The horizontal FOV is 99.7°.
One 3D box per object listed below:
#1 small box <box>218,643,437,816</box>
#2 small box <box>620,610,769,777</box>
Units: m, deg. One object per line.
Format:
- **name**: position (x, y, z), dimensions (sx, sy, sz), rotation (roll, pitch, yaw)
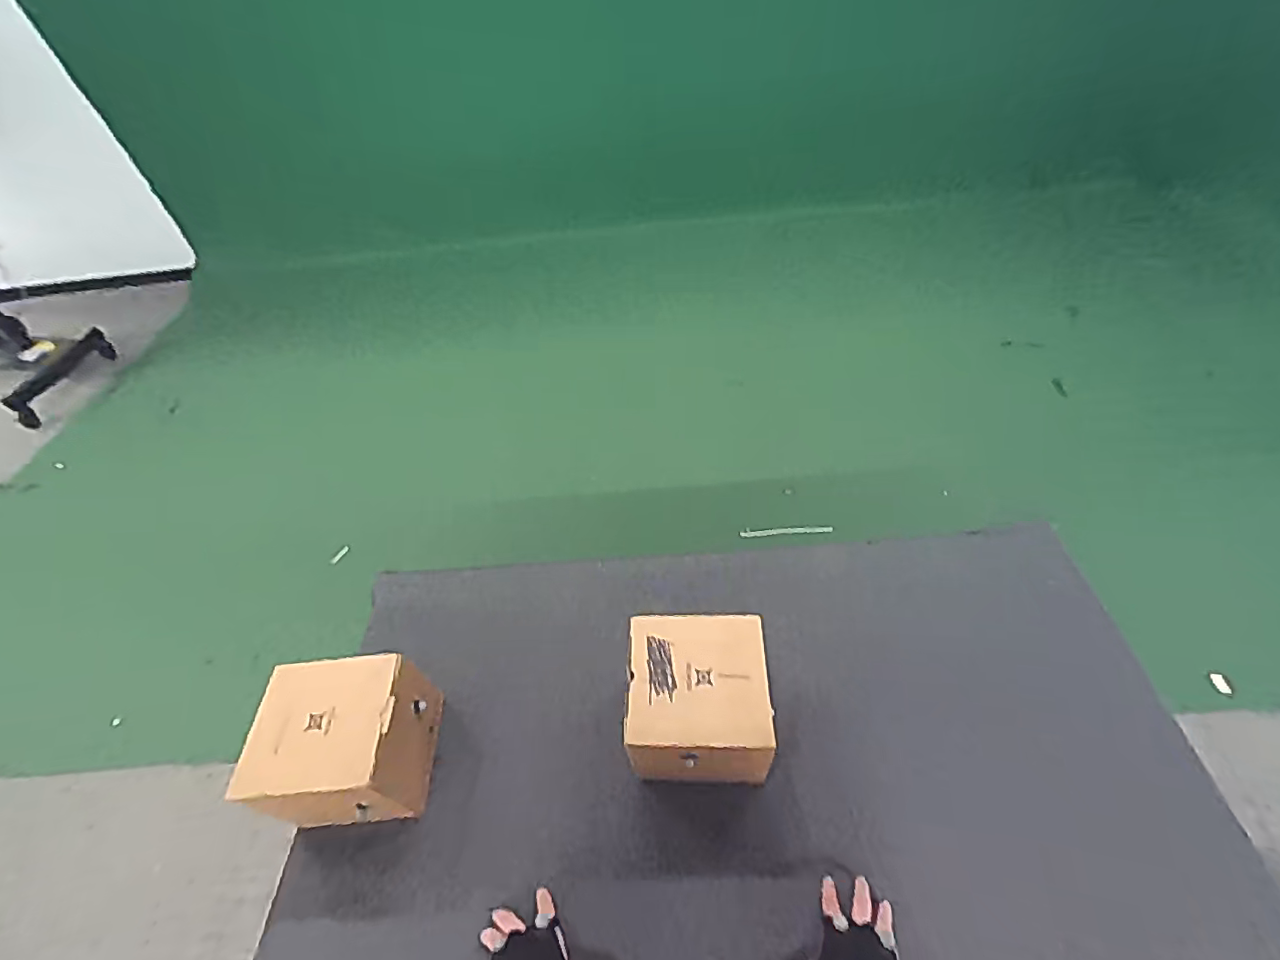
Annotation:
- **small box**: position (-0.397, 0.339, 0.730), dimensions (0.179, 0.176, 0.168), rotation (-7, 48, 2)
- **small box**: position (0.078, 0.291, 0.732), dimensions (0.179, 0.176, 0.168), rotation (1, 51, 8)
